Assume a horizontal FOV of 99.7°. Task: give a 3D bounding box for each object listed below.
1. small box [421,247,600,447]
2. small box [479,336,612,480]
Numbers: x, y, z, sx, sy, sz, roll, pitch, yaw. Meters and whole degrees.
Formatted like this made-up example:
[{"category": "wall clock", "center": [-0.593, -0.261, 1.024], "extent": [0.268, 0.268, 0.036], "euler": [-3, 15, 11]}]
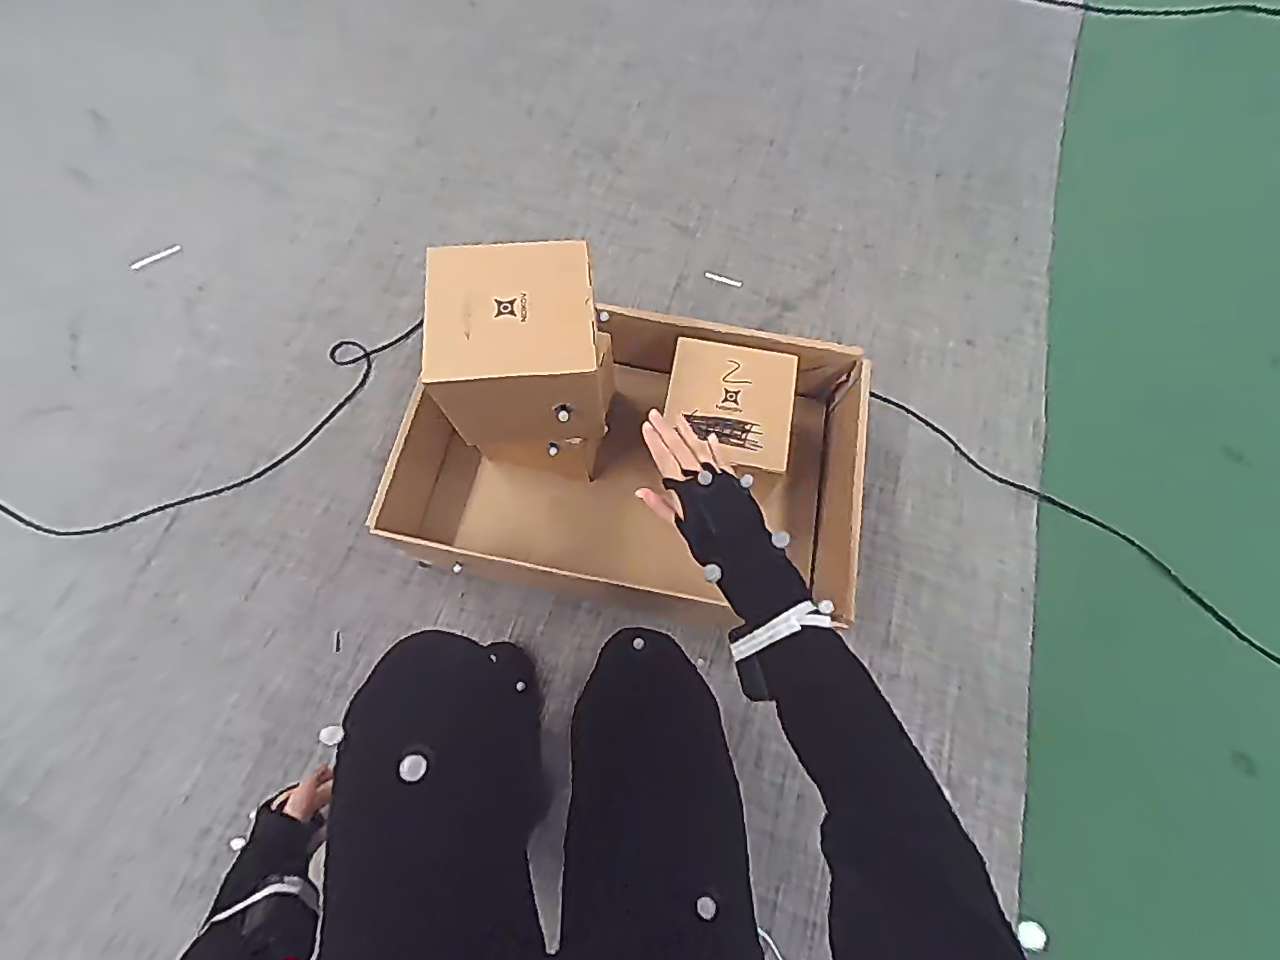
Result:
[{"category": "small box", "center": [-0.137, -0.146, 0.637], "extent": [0.179, 0.176, 0.168], "euler": [-4, 72, -2]}, {"category": "small box", "center": [-0.144, -0.111, 0.796], "extent": [0.179, 0.176, 0.168], "euler": [12, 72, 2]}]
